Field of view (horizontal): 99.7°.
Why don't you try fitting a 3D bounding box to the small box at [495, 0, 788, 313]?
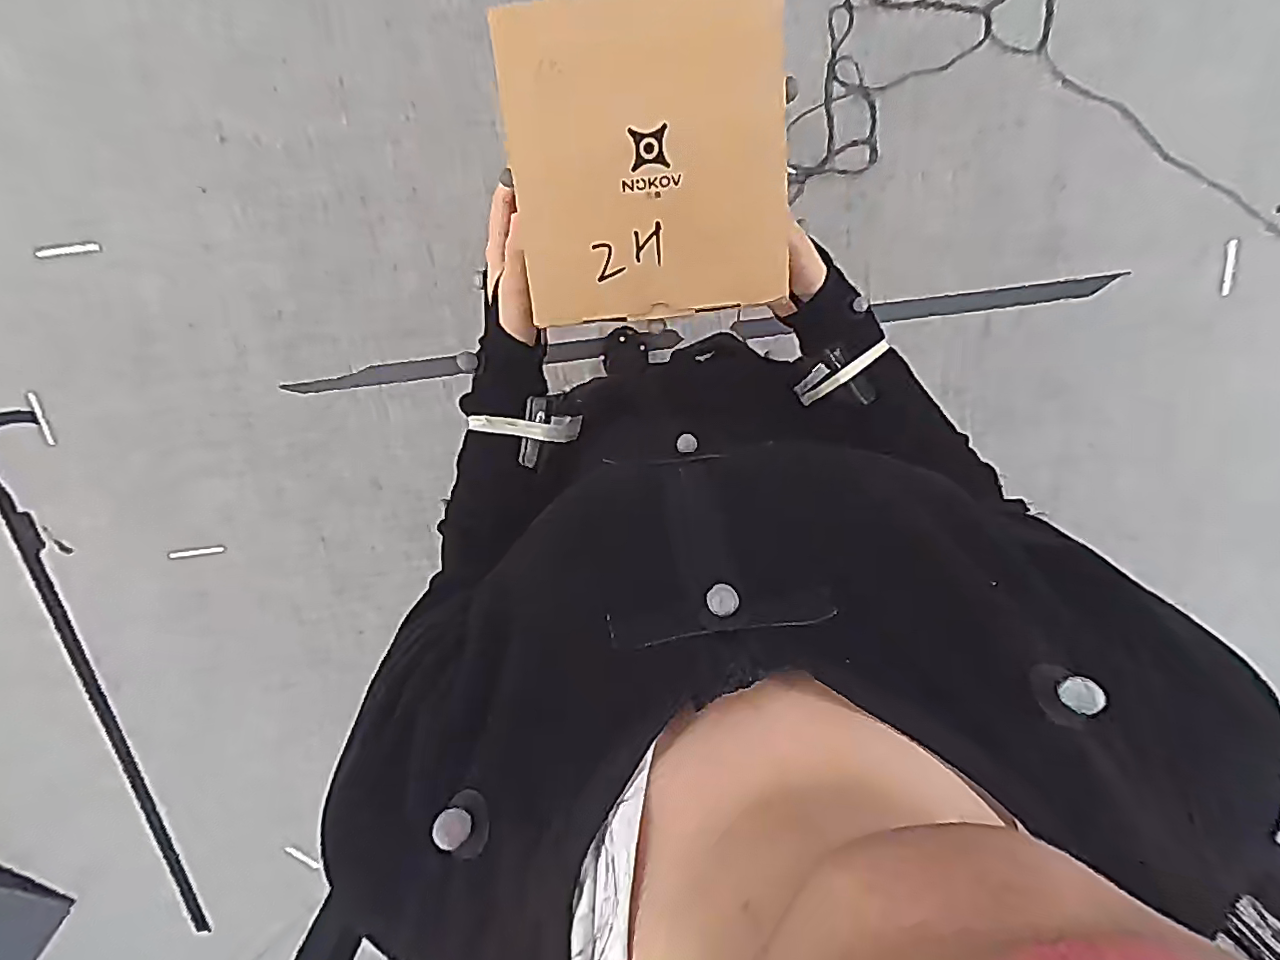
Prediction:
[{"bbox_3d":[0.006,-0.220,0.398,0.168,0.176,0.179,-5,108,2],"label":"small box"}]
